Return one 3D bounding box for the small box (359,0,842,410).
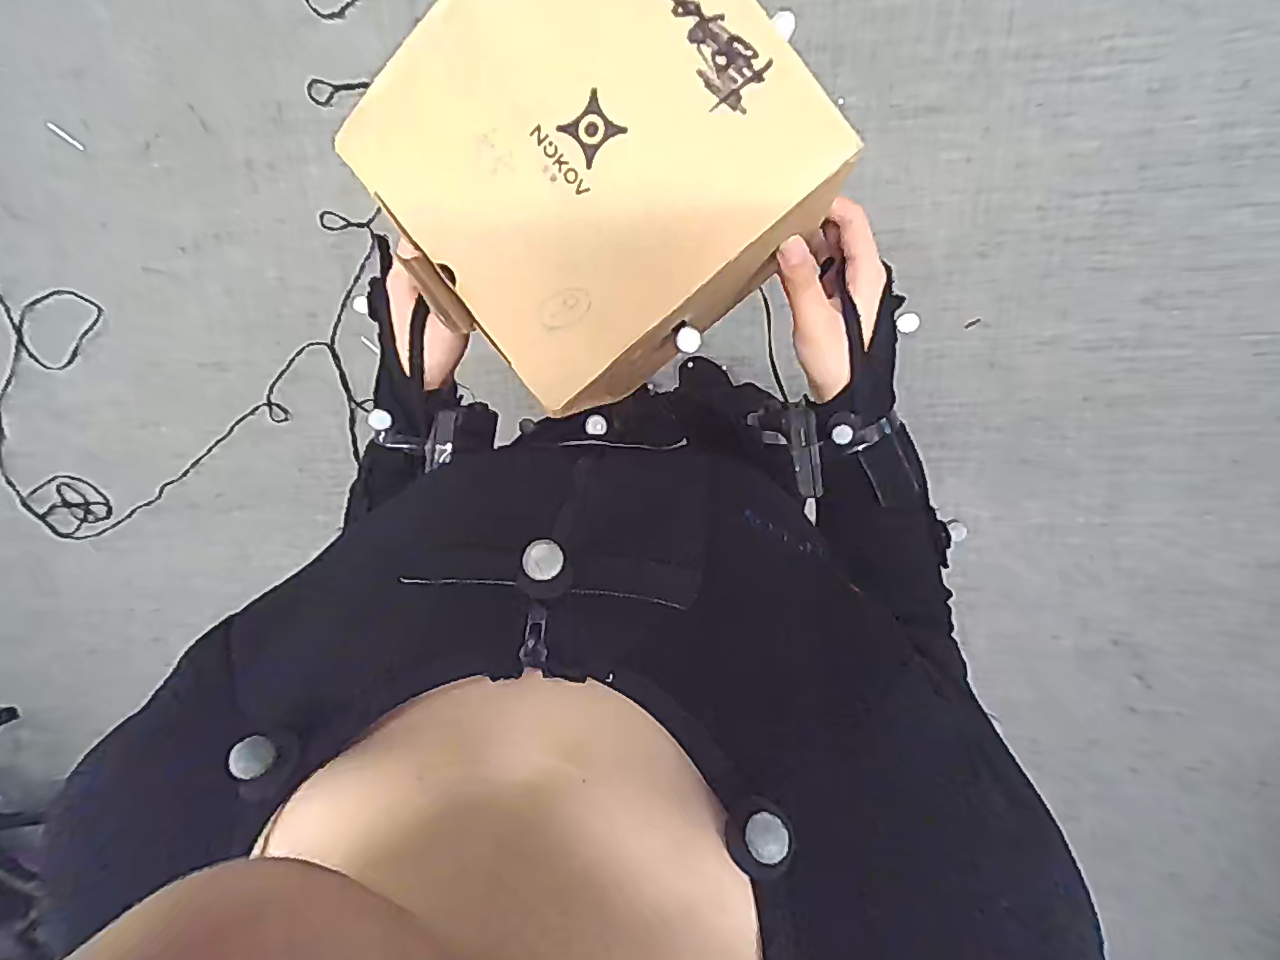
[{"bbox_3d":[-0.011,-0.162,0.325,0.179,0.176,0.168,-38,93,15],"label":"small box"}]
